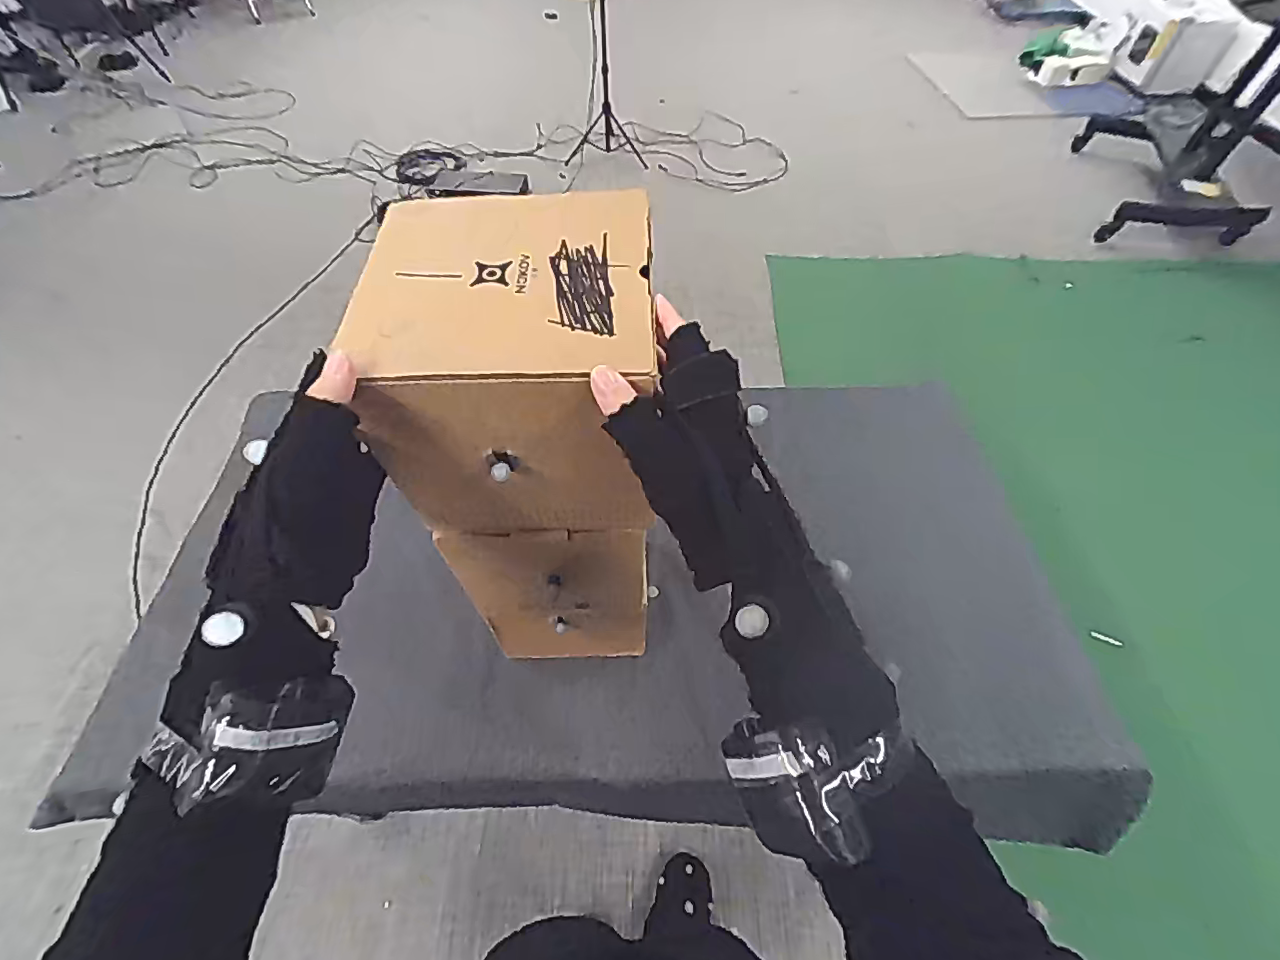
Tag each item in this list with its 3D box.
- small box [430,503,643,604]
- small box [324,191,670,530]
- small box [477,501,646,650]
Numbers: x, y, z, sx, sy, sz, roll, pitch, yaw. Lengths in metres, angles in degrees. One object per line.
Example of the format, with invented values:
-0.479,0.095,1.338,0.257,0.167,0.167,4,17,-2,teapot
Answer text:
-0.081,0.014,0.523,0.168,0.176,0.179,-2,56,-1,small box
-0.077,-0.075,0.381,0.179,0.176,0.168,-3,58,-2,small box
-0.082,0.102,0.661,0.179,0.176,0.168,-1,56,-2,small box
